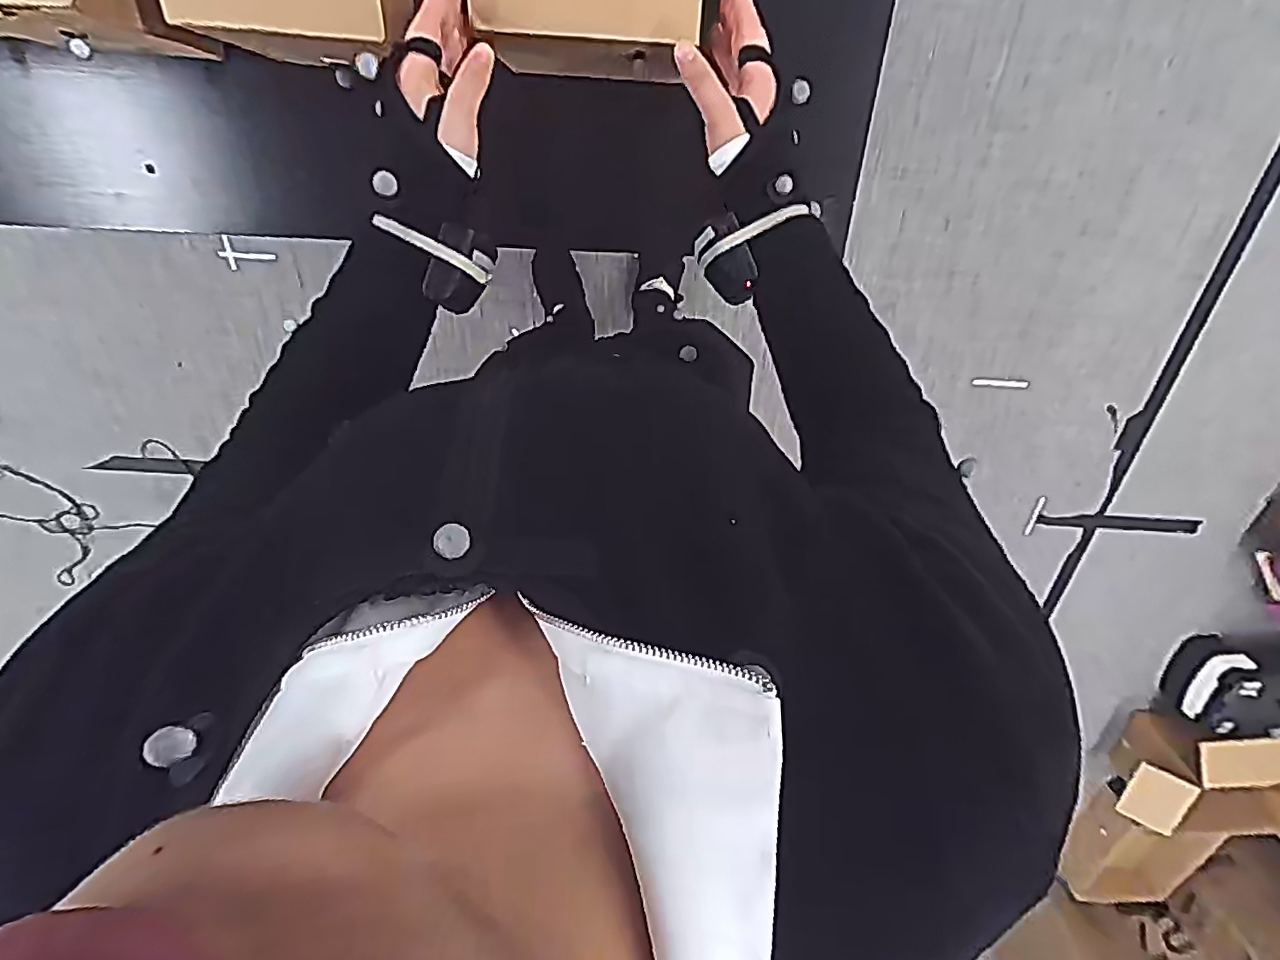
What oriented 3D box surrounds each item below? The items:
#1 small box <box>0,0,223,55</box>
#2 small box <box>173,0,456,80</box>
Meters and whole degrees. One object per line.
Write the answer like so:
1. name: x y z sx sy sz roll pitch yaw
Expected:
1. small box: -0.488 -0.468 0.435 0.168 0.176 0.179 3 119 -2
2. small box: -0.263 -0.456 0.444 0.168 0.176 0.179 4 119 -1
